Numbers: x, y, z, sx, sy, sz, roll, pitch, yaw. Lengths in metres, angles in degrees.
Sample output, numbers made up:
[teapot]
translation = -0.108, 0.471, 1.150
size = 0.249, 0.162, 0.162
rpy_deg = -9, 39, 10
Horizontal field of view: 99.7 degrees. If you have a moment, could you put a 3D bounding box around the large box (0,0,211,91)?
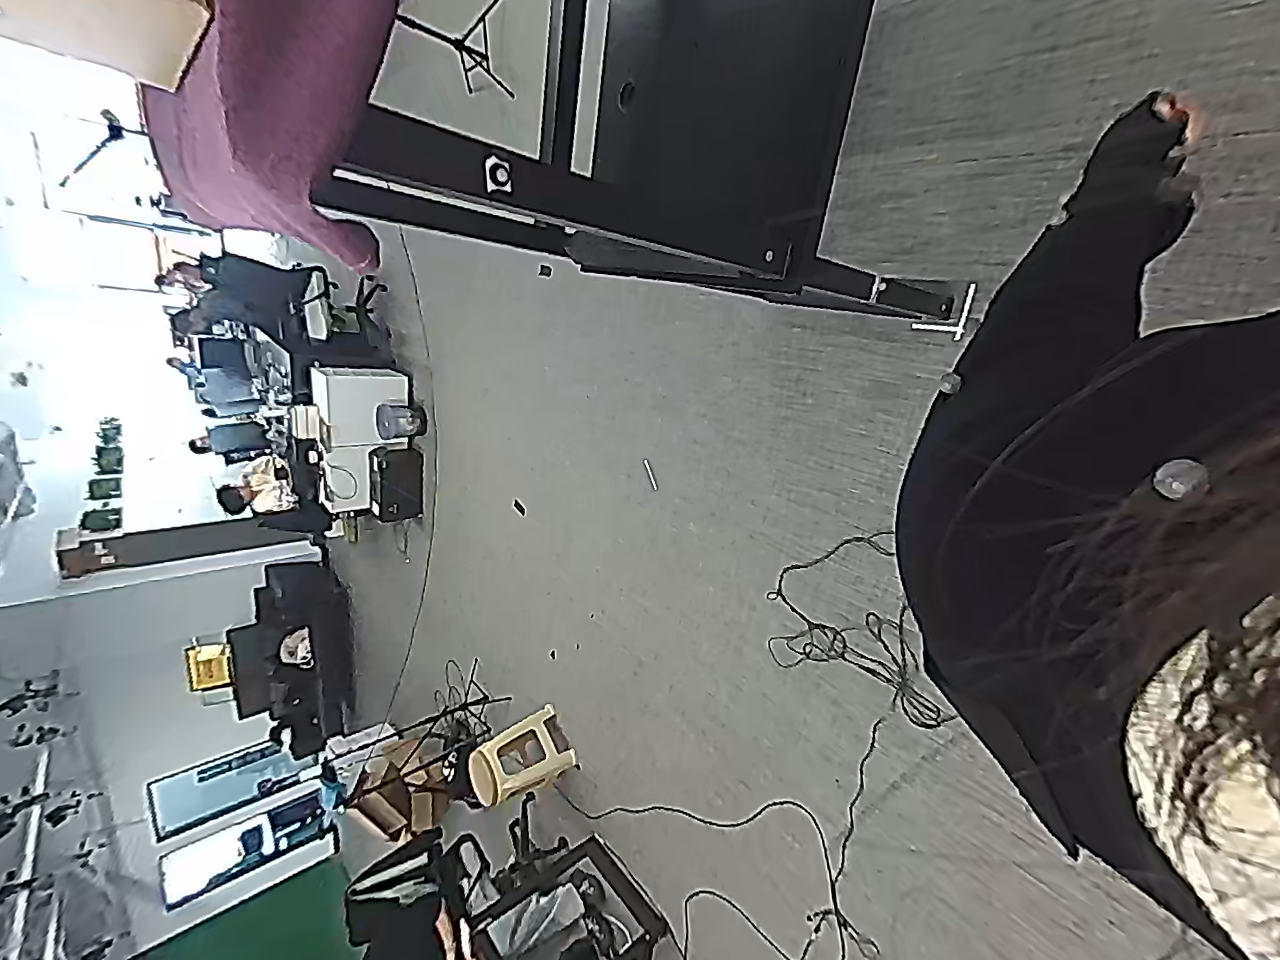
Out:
[large box]
translation = -0.522, -0.529, 0.376
size = 0.408, 0.320, 0.320
rpy_deg = 28, 115, 44
